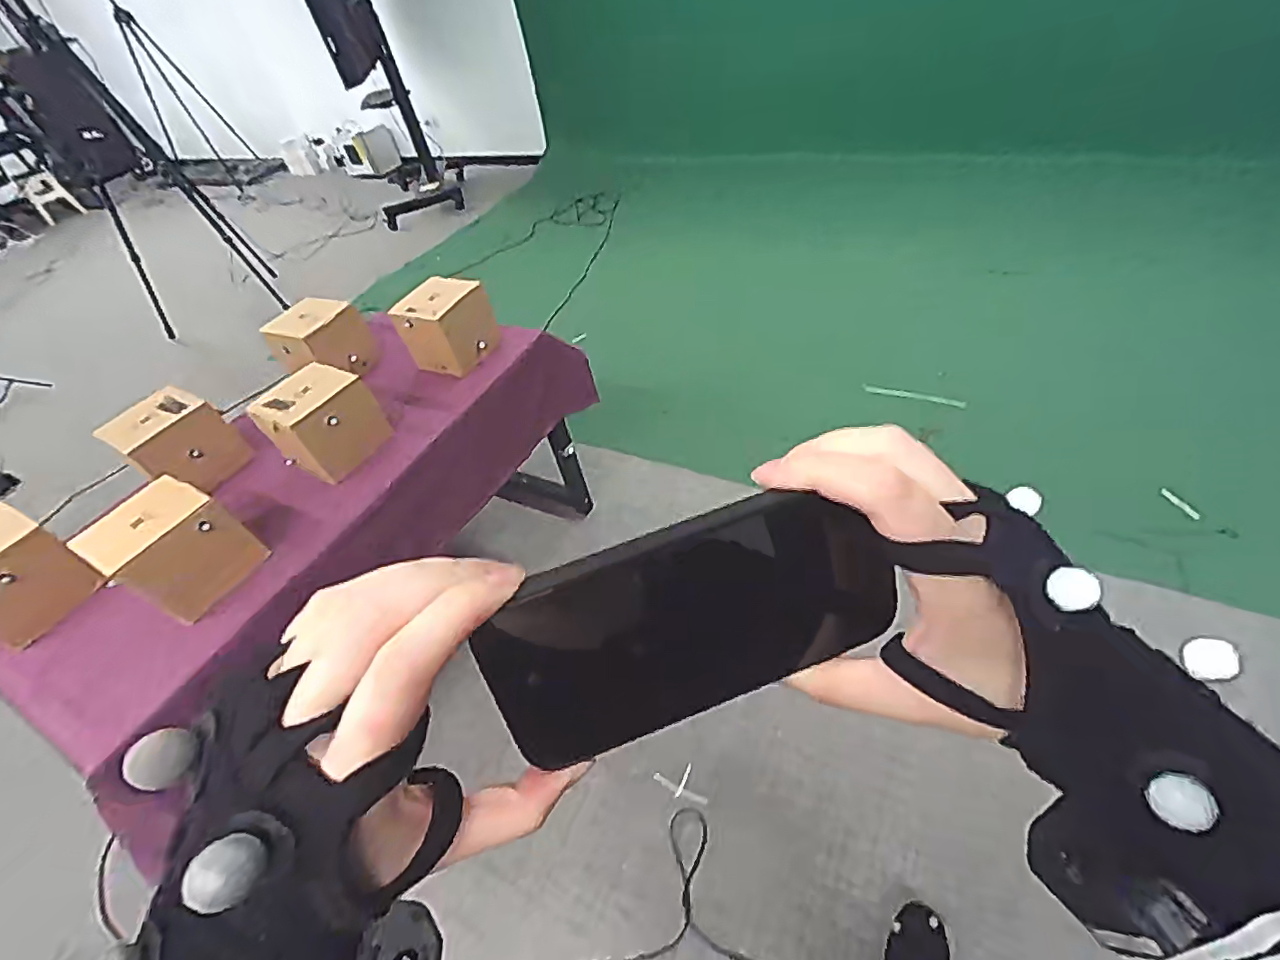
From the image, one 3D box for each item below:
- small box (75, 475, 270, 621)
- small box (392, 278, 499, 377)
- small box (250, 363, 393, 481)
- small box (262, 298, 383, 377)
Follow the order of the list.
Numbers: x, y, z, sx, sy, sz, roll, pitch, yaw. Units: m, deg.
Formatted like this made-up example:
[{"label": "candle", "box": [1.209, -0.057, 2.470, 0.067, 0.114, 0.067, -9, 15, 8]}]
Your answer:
[{"label": "small box", "box": [-0.829, 0.125, 0.977, 0.168, 0.176, 0.179, 17, 52, 25]}, {"label": "small box", "box": [-0.484, -0.392, 1.384, 0.168, 0.176, 0.179, 14, 52, 24]}, {"label": "small box", "box": [-0.681, -0.125, 1.177, 0.168, 0.176, 0.179, 19, 53, 26]}, {"label": "small box", "box": [-0.826, -0.356, 1.421, 0.179, 0.176, 0.168, 14, 52, 23]}]
